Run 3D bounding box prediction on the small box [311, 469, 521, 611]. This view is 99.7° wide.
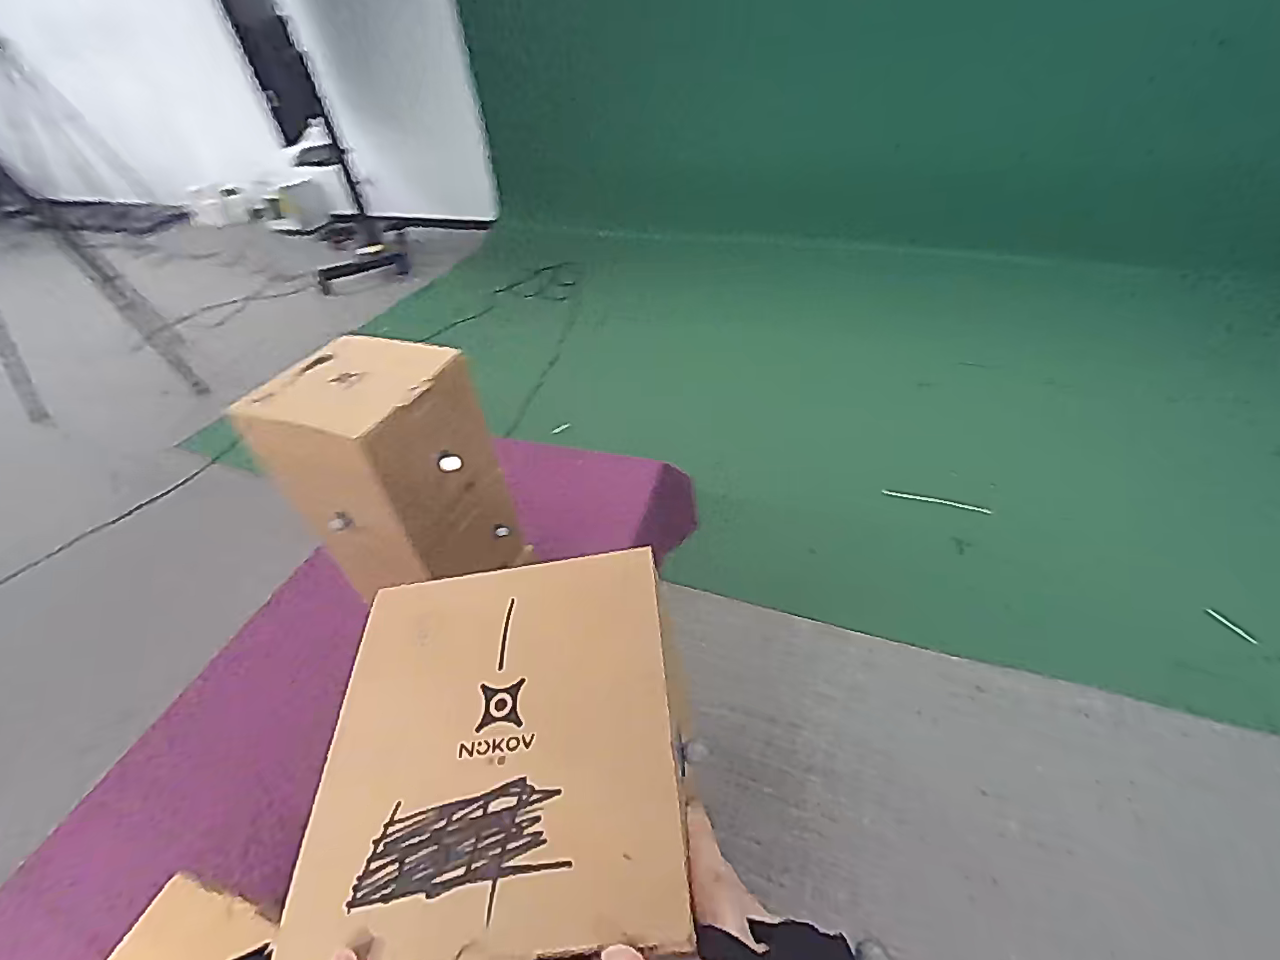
[{"bbox_3d":[-0.287,0.084,0.737,0.179,0.176,0.168,12,45,20],"label":"small box"}]

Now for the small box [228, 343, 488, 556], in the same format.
[{"bbox_3d":[-0.303,-0.035,0.625,0.179,0.176,0.168,12,44,18],"label":"small box"}]

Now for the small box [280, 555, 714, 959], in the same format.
[{"bbox_3d":[-0.053,0.172,0.319,0.168,0.176,0.179,-9,46,5],"label":"small box"}]

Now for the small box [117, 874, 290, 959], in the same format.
[{"bbox_3d":[-0.402,0.525,0.517,0.168,0.176,0.179,9,44,16],"label":"small box"}]
